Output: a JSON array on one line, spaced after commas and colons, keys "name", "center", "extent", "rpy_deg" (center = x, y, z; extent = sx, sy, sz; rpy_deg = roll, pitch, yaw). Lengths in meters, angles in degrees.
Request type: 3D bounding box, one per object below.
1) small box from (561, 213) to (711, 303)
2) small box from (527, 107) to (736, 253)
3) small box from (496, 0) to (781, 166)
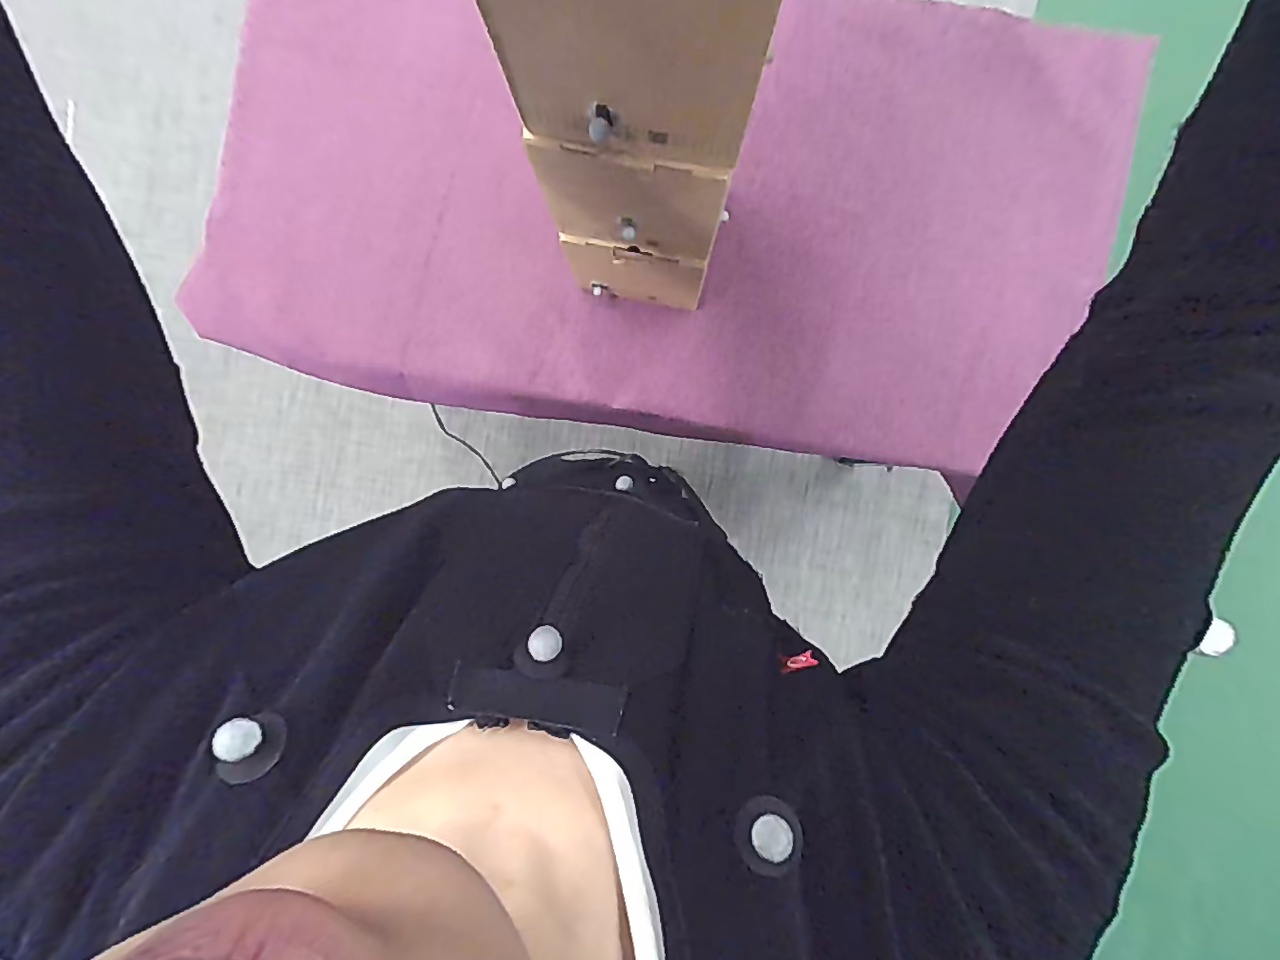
[{"name": "small box", "center": [0.012, -0.335, 0.660], "extent": [0.168, 0.176, 0.179], "rpy_deg": [11, 91, 1]}, {"name": "small box", "center": [0.009, -0.338, 0.496], "extent": [0.168, 0.176, 0.179], "rpy_deg": [11, 92, 1]}, {"name": "small box", "center": [0.007, -0.337, 0.333], "extent": [0.168, 0.176, 0.179], "rpy_deg": [11, 92, 1]}]
